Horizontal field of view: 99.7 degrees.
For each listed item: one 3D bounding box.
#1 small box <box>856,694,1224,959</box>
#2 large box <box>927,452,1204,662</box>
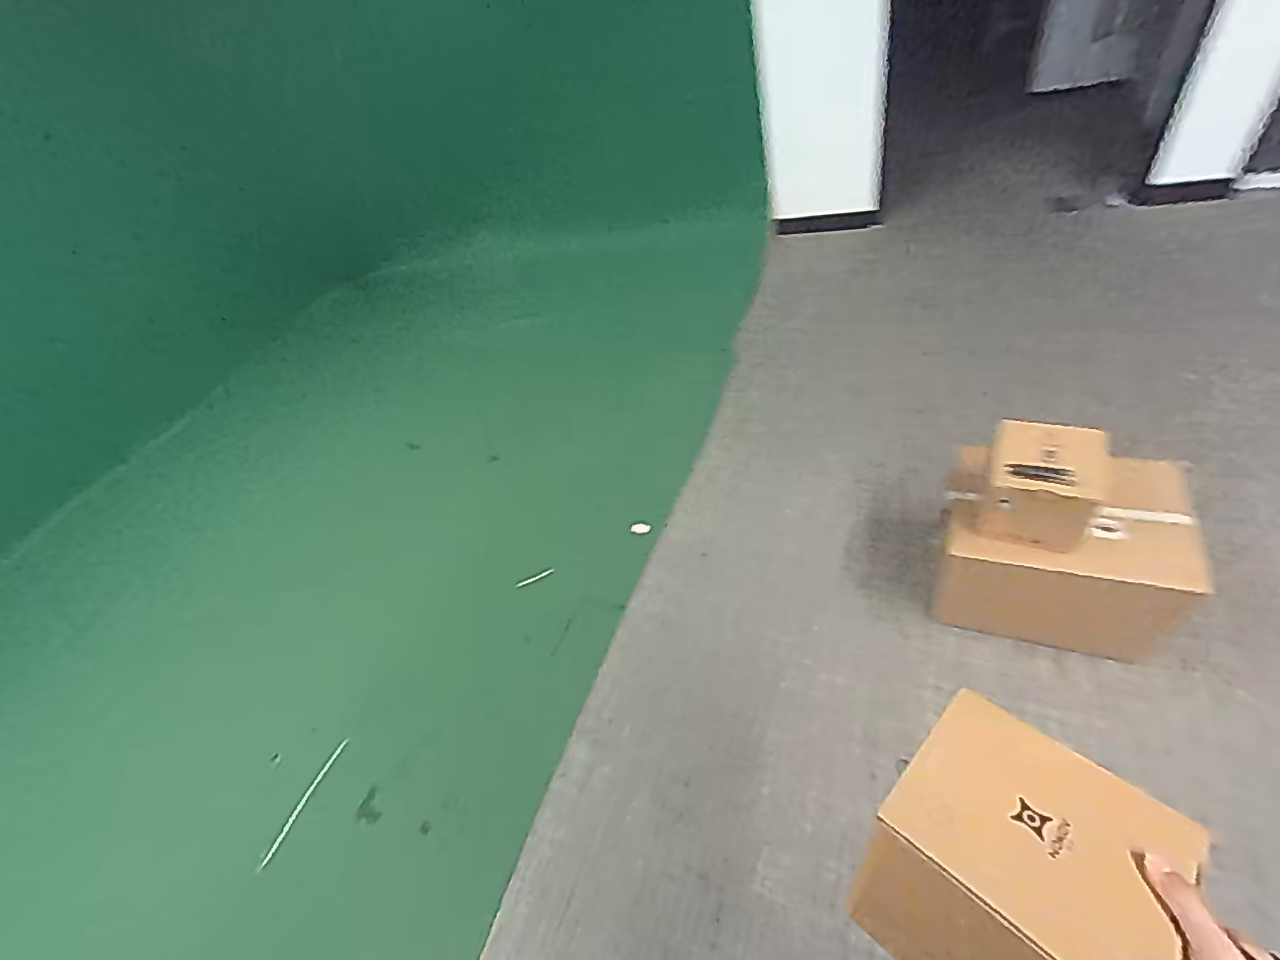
[{"bbox_3d":[0.305,0.326,0.443,0.168,0.176,0.179,-25,39,-33],"label":"small box"},{"bbox_3d":[0.892,0.164,1.213,0.408,0.320,0.320,8,54,24],"label":"large box"}]
